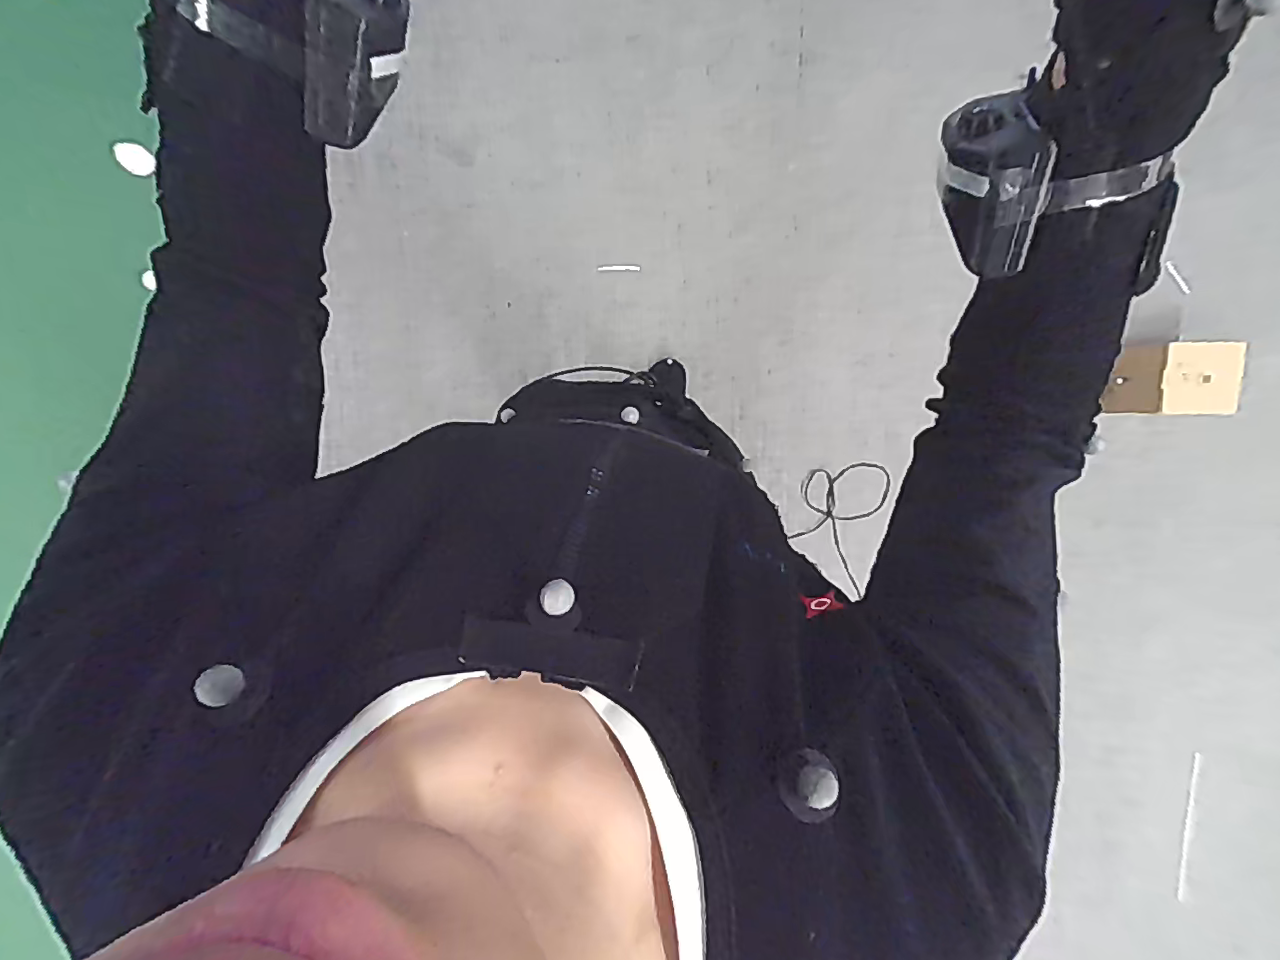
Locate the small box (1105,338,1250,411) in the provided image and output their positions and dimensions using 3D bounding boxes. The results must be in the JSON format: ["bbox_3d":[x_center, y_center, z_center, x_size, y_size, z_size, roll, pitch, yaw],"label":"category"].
[{"bbox_3d":[1.296,-0.254,1.315,0.179,0.176,0.168,0,98,2],"label":"small box"}]
